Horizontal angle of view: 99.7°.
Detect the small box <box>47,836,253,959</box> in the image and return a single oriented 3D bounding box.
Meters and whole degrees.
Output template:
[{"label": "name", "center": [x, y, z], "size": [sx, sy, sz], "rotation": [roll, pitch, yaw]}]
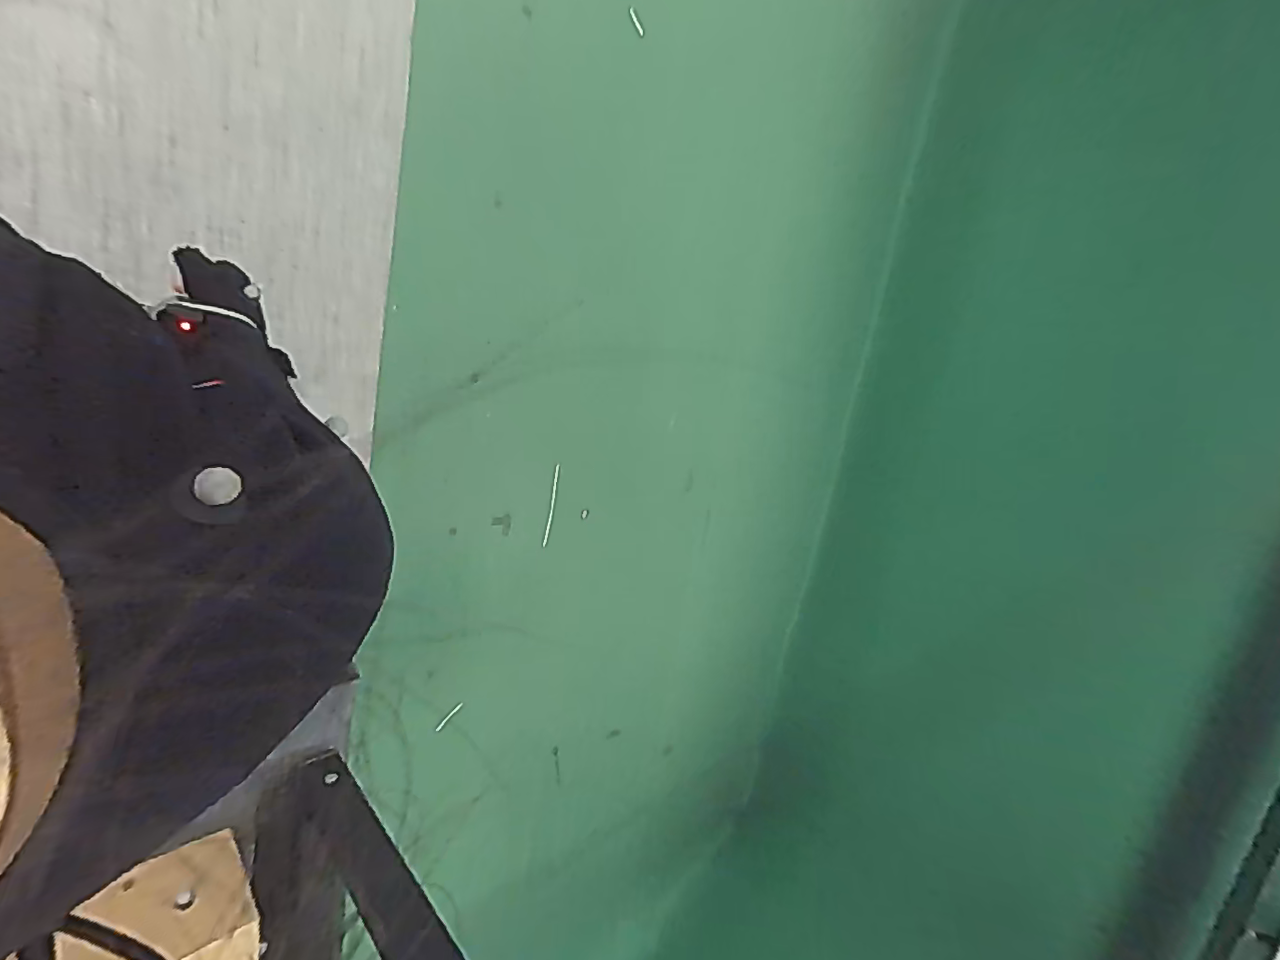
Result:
[{"label": "small box", "center": [-0.590, 0.577, 0.653], "size": [0.168, 0.176, 0.179], "rotation": [-4, 109, -47]}]
